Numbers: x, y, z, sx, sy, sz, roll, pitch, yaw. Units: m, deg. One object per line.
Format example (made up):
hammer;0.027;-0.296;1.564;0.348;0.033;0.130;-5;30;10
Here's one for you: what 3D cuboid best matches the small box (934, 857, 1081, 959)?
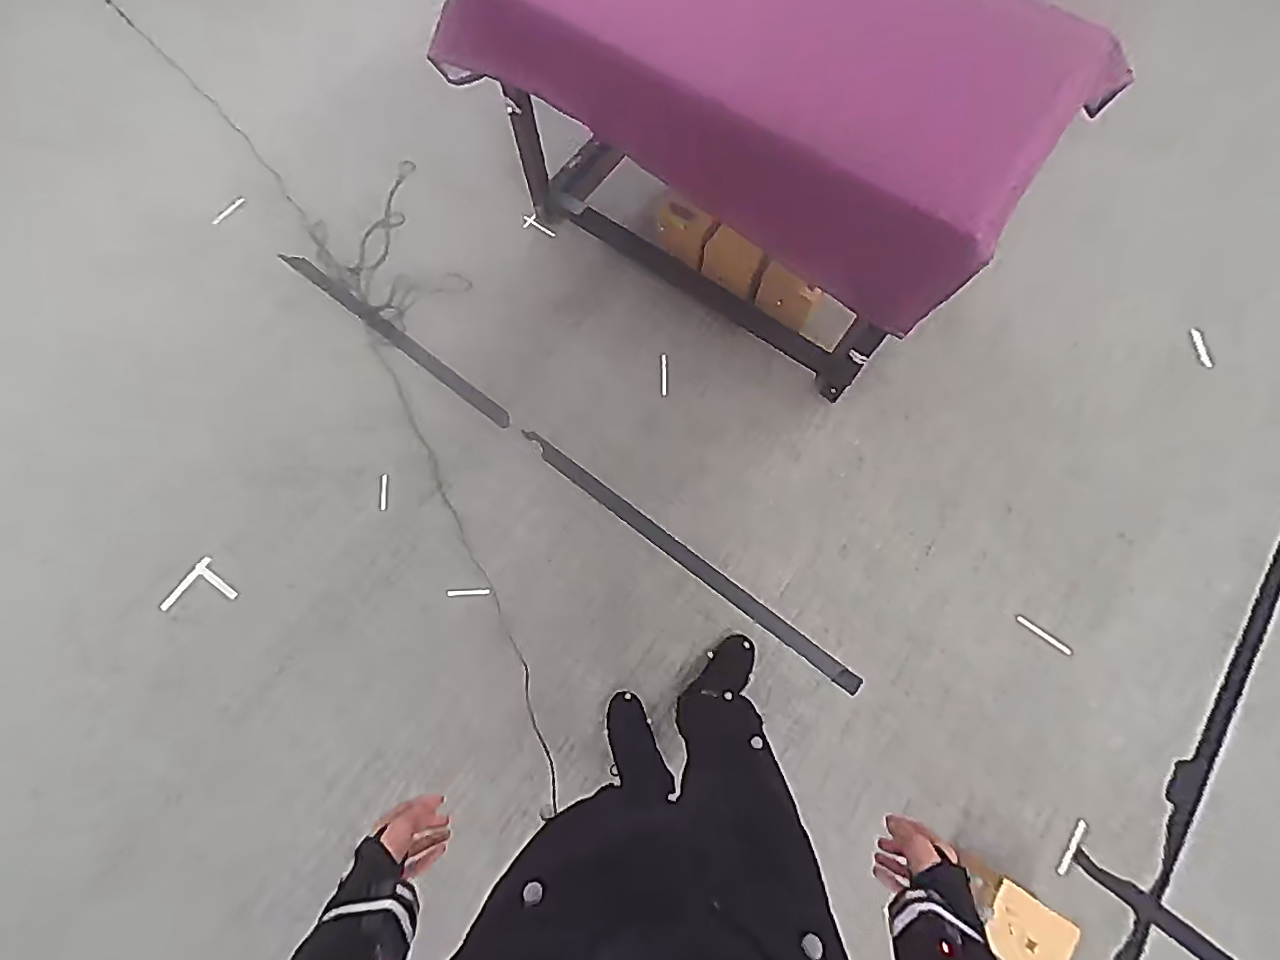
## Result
small box;0.797;0.981;1.190;0.179;0.176;0.168;32;77;11
